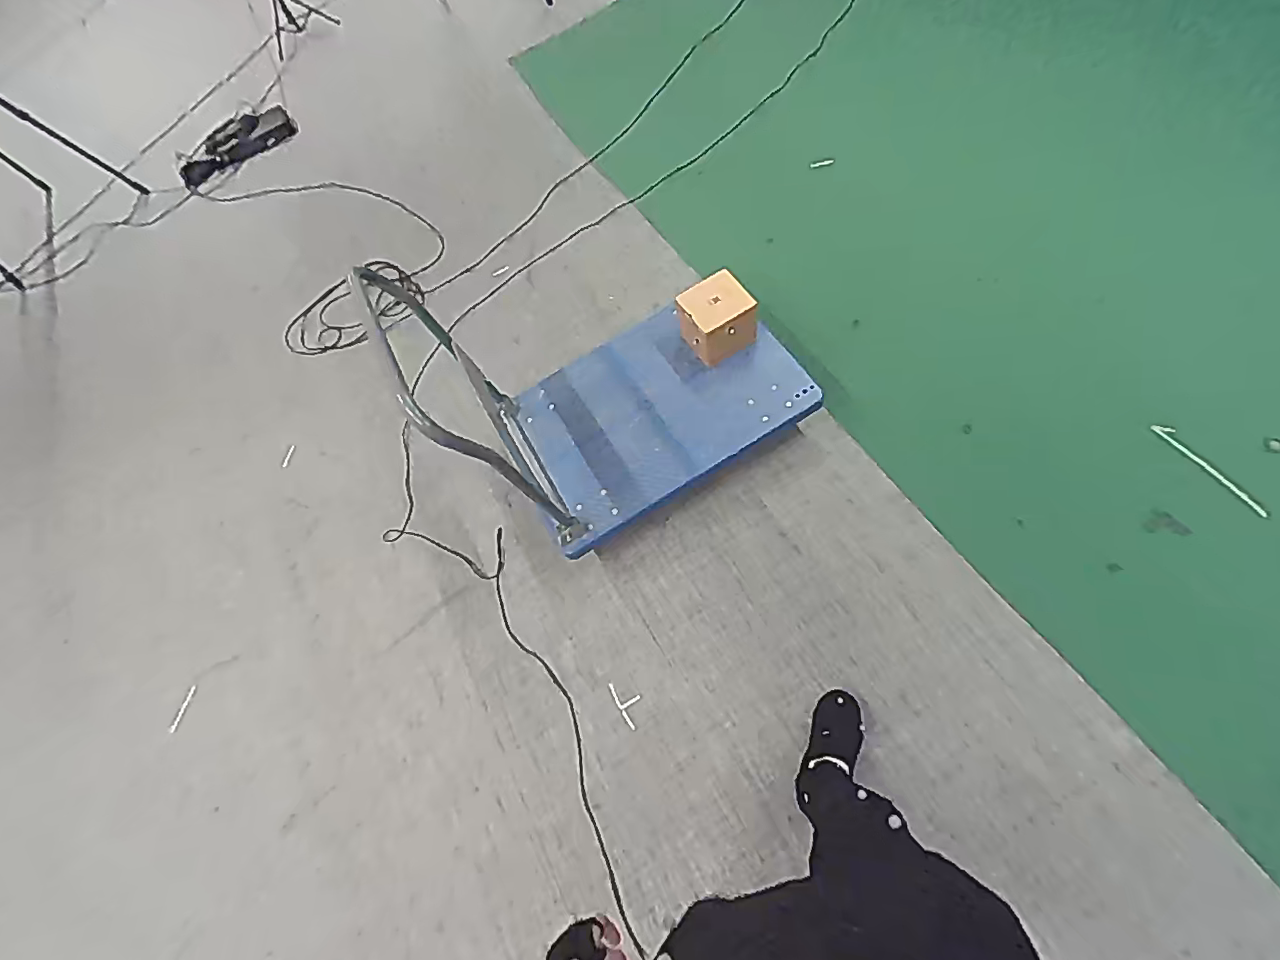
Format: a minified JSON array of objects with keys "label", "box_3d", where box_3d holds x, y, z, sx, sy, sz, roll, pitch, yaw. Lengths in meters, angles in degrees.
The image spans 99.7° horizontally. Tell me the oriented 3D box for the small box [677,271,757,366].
[{"label":"small box","box_3d":[0.232,-0.470,1.599,0.179,0.176,0.168,-30,64,-2]}]
